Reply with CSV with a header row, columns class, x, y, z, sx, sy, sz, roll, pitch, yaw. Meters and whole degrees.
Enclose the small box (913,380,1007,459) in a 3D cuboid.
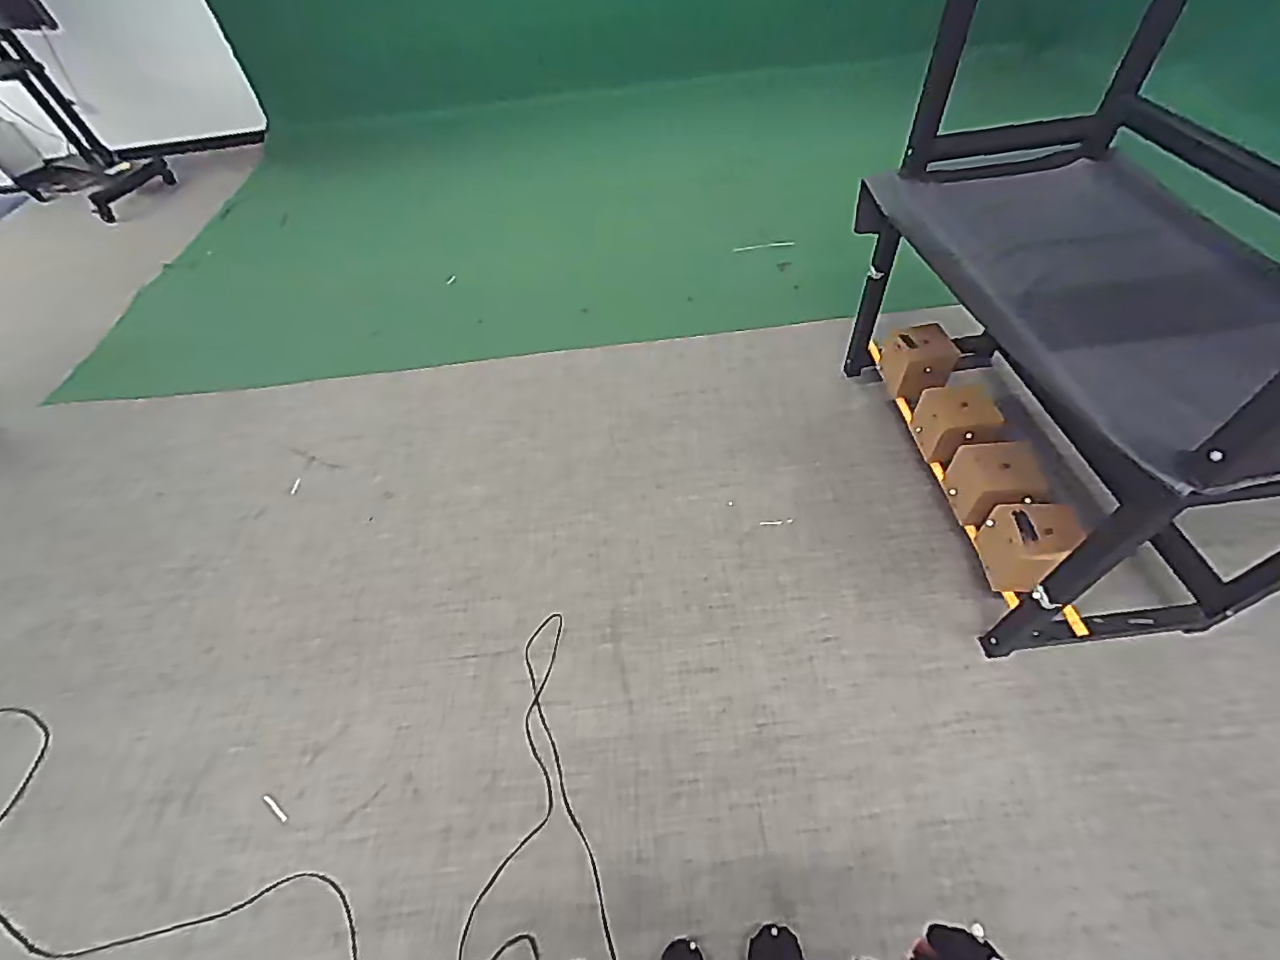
class,x,y,z,sx,sy,sz,roll,pitch,yaw
small box,0.979,-0.183,1.670,0.179,0.176,0.168,-7,52,4
